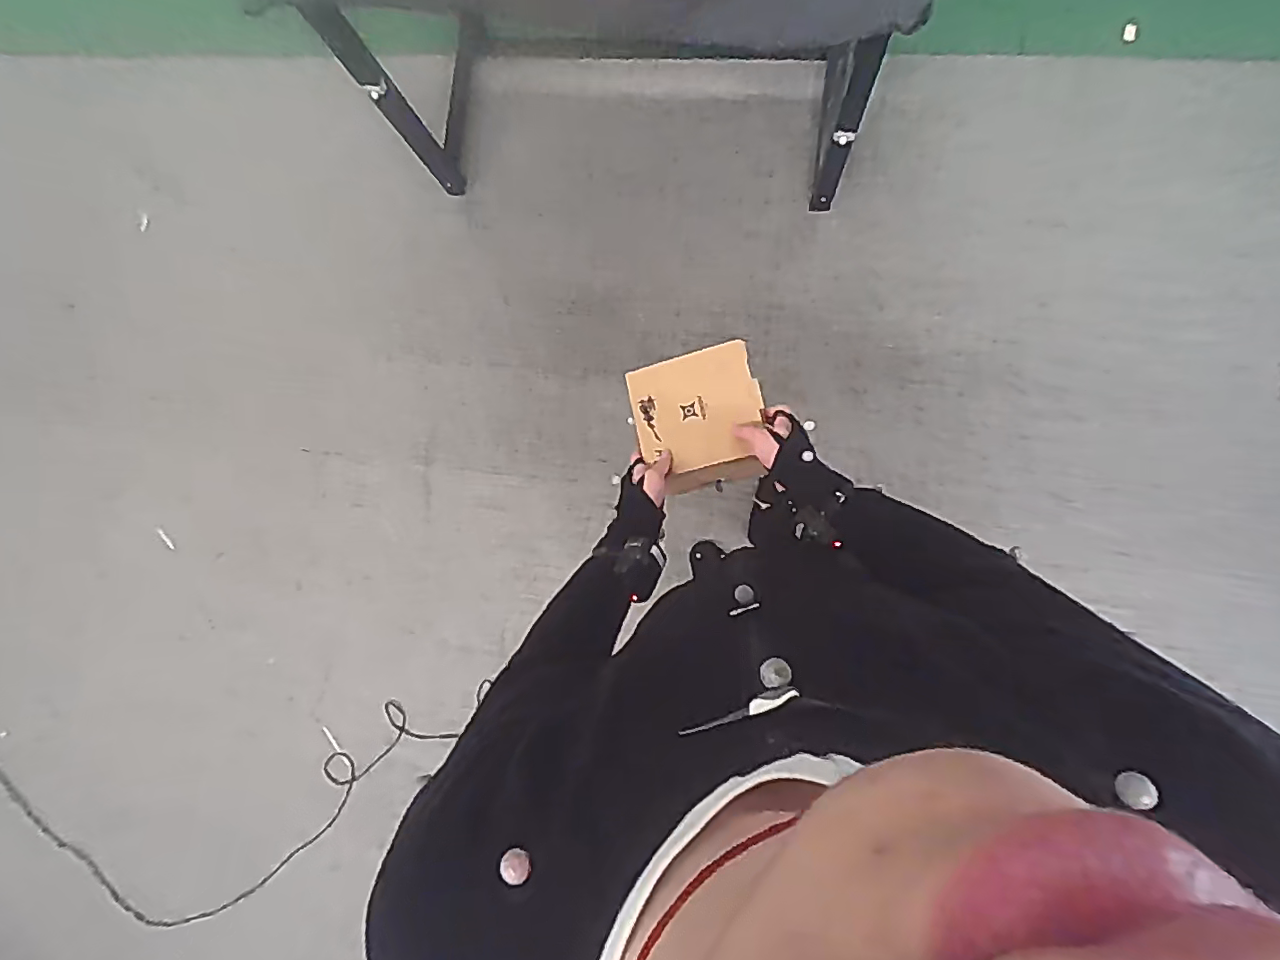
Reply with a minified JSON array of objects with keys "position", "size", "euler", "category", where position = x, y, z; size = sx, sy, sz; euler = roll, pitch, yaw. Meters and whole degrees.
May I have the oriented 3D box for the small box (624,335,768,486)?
[{"position":[0.091,-0.095,0.829],"size":[0.179,0.176,0.168],"euler":[-14,78,11],"category":"small box"}]
